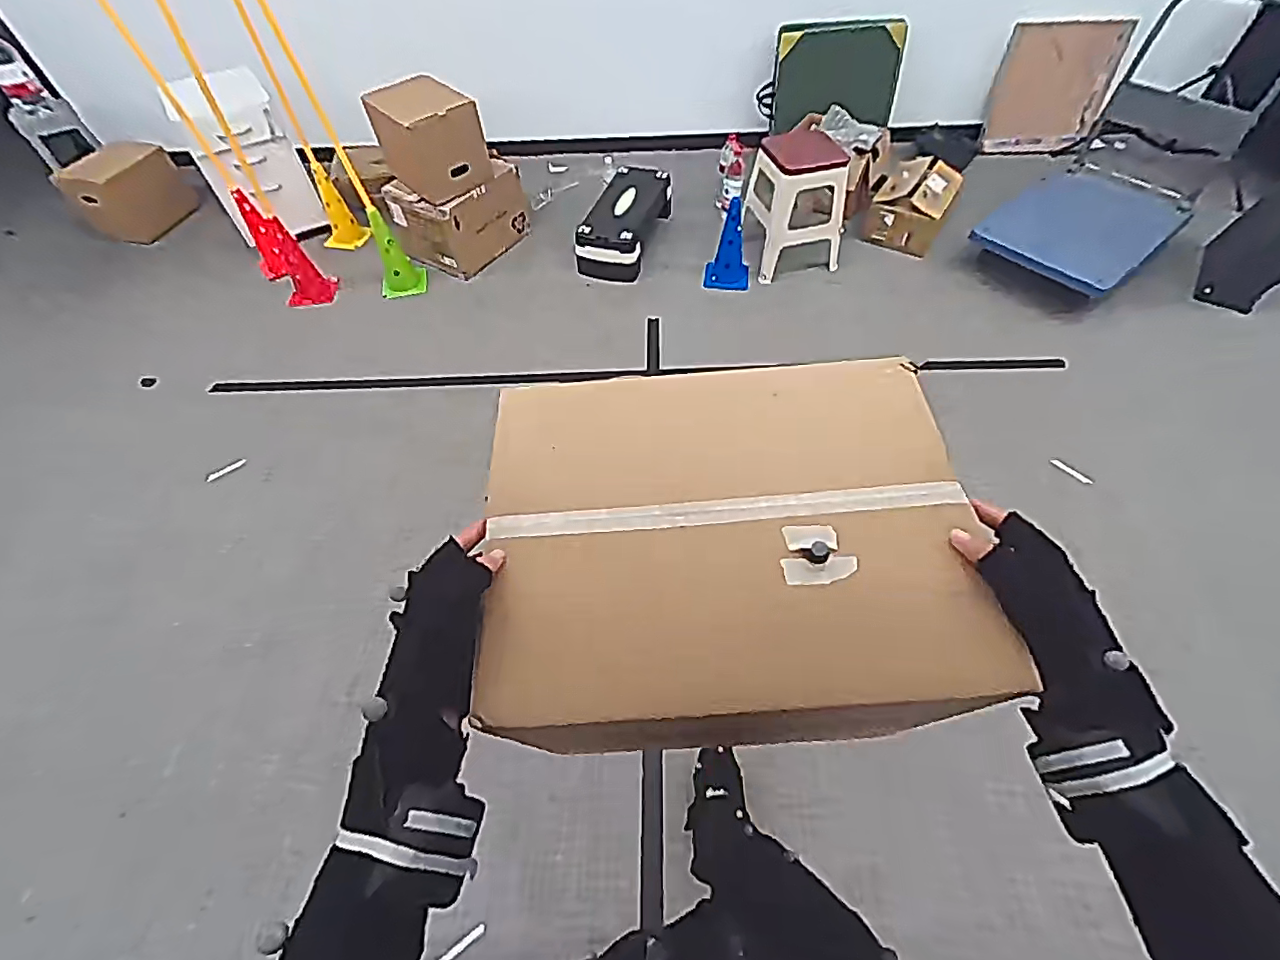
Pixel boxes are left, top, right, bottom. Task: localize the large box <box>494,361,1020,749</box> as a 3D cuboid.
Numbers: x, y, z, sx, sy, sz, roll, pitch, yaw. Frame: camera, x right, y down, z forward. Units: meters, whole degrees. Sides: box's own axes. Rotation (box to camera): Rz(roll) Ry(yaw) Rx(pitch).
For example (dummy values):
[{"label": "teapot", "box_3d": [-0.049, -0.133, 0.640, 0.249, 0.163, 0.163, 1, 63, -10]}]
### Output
[{"label": "large box", "box_3d": [0.081, 0.101, 0.602, 0.408, 0.320, 0.320, -4, 60, 0]}]
